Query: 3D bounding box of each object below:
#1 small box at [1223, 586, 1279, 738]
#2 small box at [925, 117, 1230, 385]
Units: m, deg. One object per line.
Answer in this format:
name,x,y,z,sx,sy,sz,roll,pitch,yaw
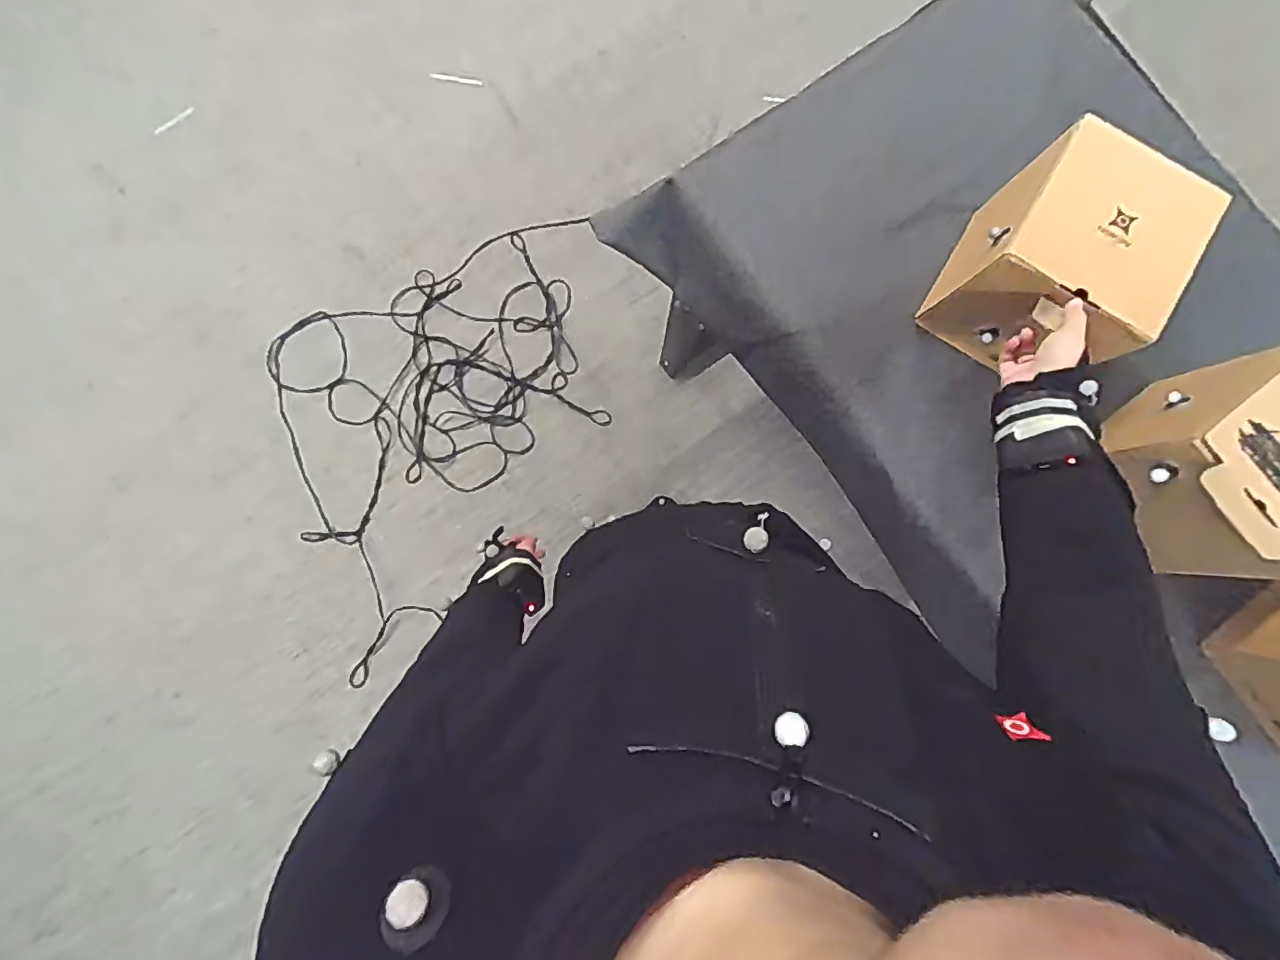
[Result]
small box,0.784,0.206,0.560,0.179,0.176,0.168,-36,87,-6
small box,0.457,-0.234,0.596,0.168,0.176,0.179,31,85,1
